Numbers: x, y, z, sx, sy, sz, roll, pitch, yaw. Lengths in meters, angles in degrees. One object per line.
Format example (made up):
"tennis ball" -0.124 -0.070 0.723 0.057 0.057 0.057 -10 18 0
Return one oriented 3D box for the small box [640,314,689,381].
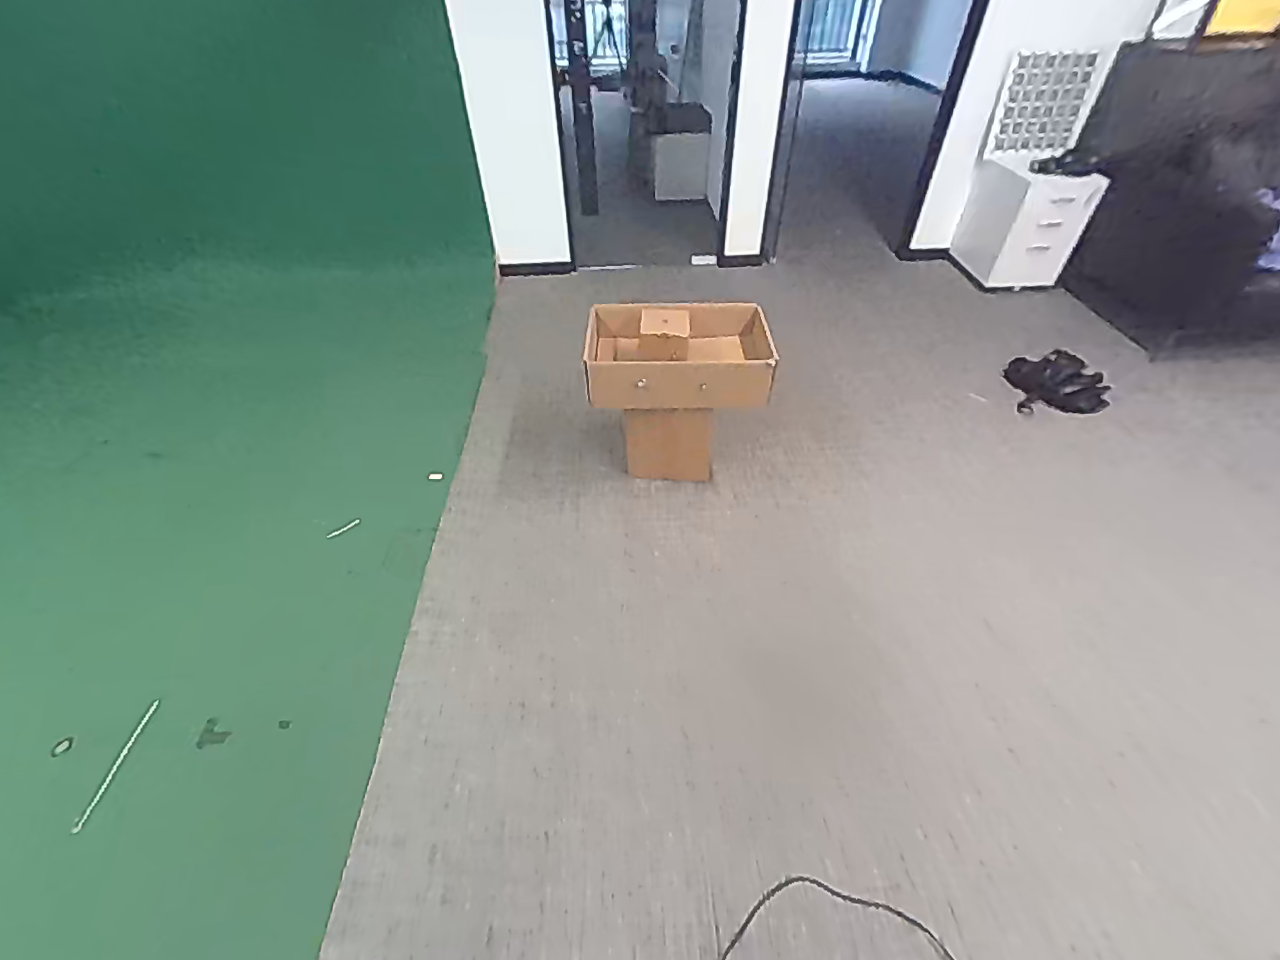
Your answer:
"small box" 0.085 -0.462 1.892 0.168 0.176 0.179 3 42 0
